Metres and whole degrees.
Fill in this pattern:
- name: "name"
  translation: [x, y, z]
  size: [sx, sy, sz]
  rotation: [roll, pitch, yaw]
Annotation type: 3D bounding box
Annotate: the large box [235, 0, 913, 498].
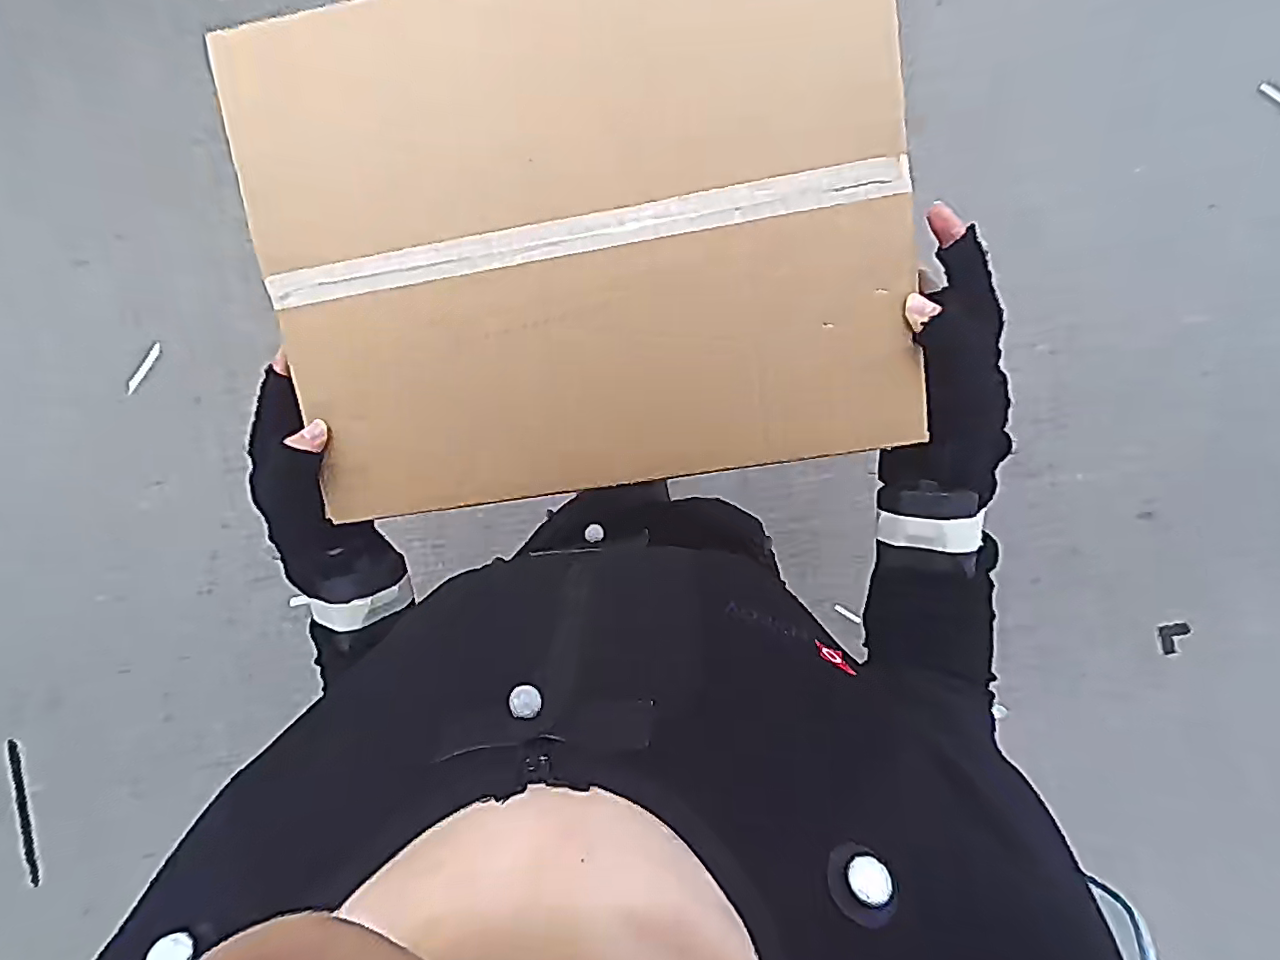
- name: "large box"
  translation: [-0.032, -0.188, 0.492]
  size: [0.408, 0.320, 0.320]
  rotation: [-8, 100, 5]
